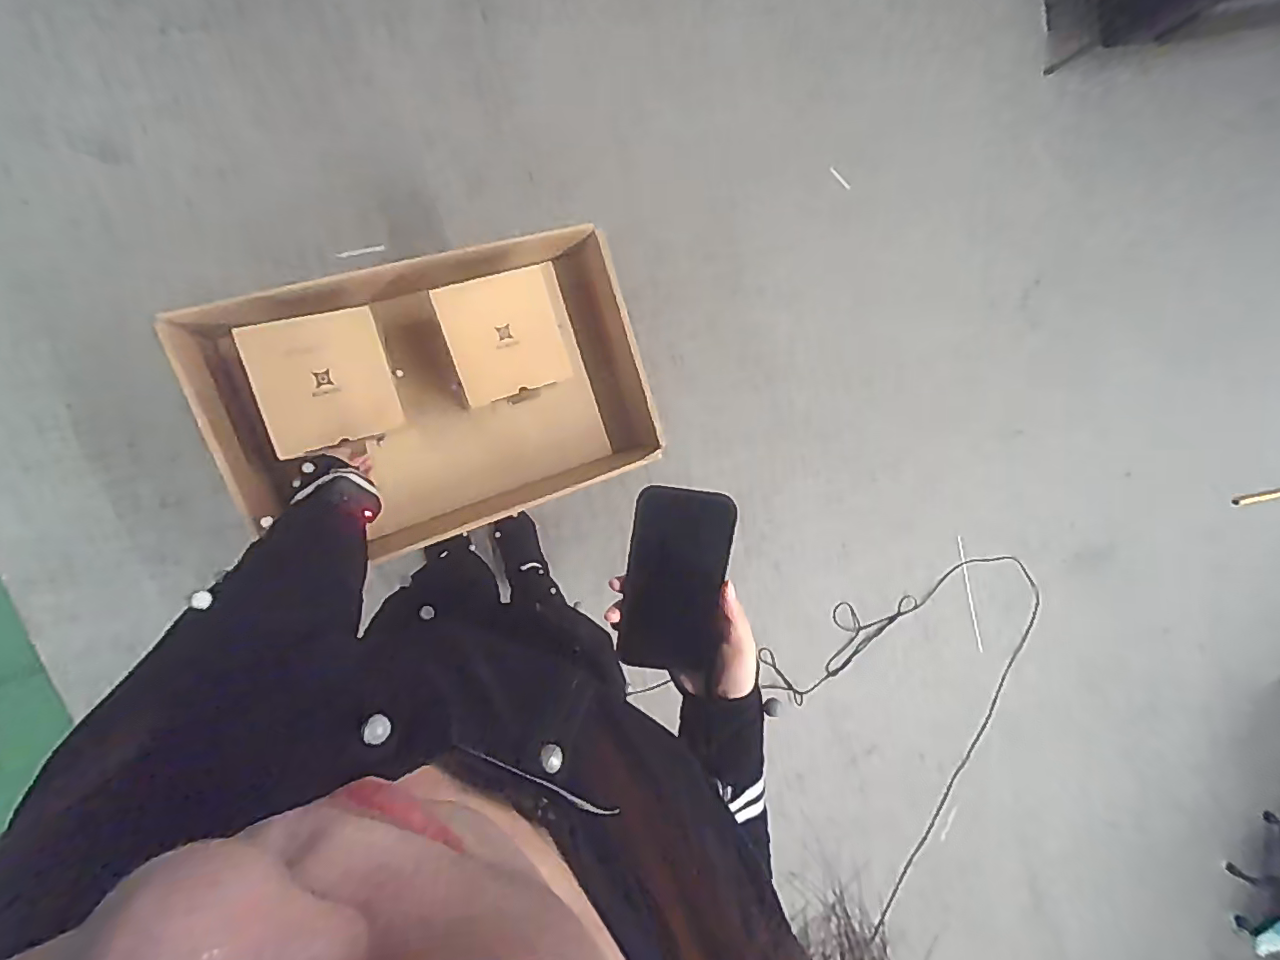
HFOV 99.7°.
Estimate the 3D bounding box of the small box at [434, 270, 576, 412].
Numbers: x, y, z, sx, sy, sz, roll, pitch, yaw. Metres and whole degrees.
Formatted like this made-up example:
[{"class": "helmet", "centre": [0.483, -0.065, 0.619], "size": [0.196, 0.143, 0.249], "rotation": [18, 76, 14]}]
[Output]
[{"class": "small box", "centre": [-0.222, -0.214, 0.872], "size": [0.168, 0.176, 0.179], "rotation": [-20, 102, -16]}]
